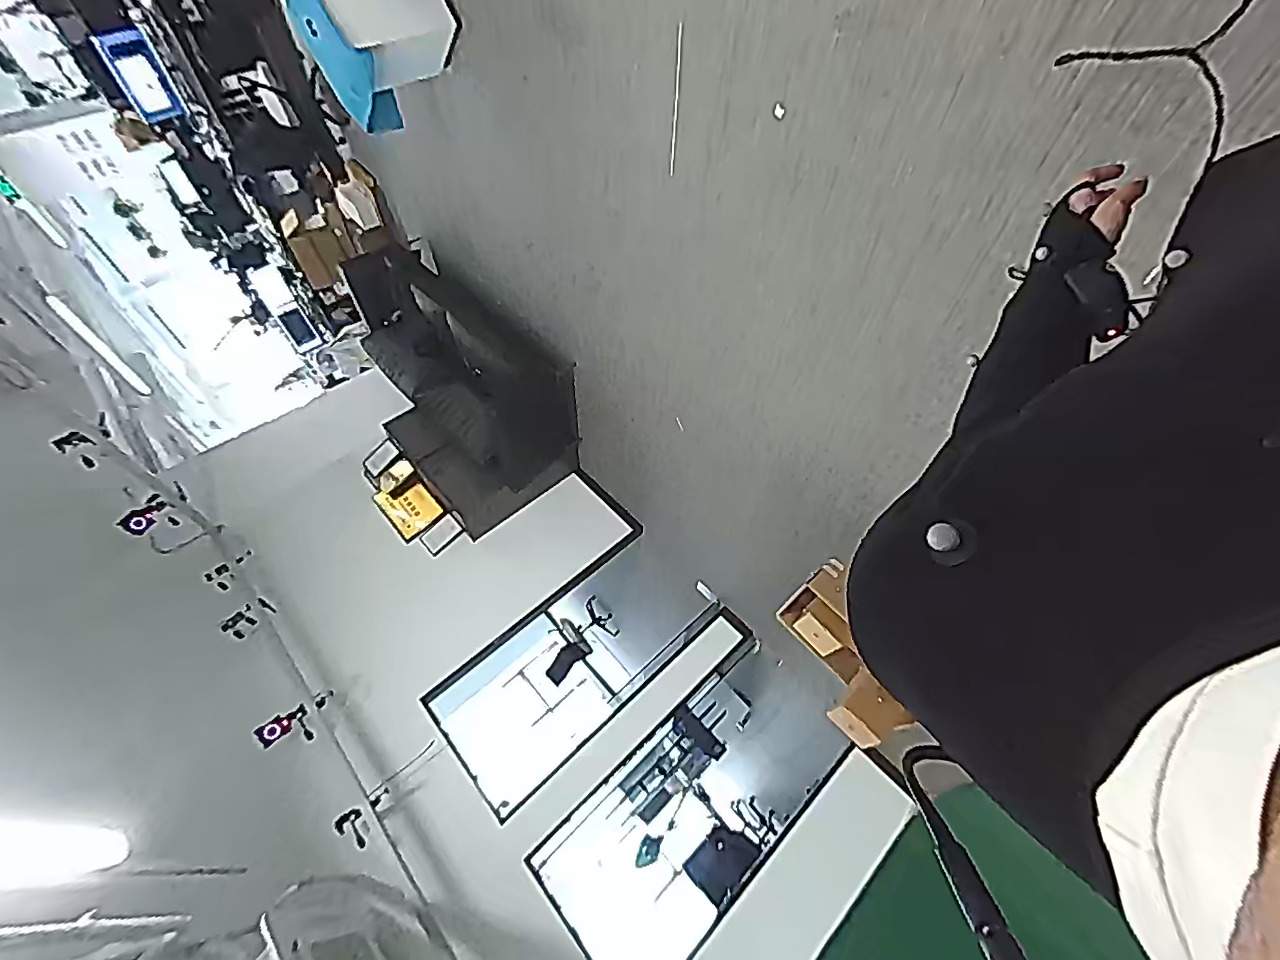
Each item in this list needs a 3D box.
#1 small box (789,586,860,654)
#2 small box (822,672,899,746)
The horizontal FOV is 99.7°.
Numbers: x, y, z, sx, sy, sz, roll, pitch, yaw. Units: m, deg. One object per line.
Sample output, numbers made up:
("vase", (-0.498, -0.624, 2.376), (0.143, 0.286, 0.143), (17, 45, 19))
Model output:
("small box", (0.726, 0.547, 2.121), (0.168, 0.176, 0.179), (46, 154, 18))
("small box", (0.798, 0.826, 1.953), (0.168, 0.176, 0.179), (43, 153, 21))
